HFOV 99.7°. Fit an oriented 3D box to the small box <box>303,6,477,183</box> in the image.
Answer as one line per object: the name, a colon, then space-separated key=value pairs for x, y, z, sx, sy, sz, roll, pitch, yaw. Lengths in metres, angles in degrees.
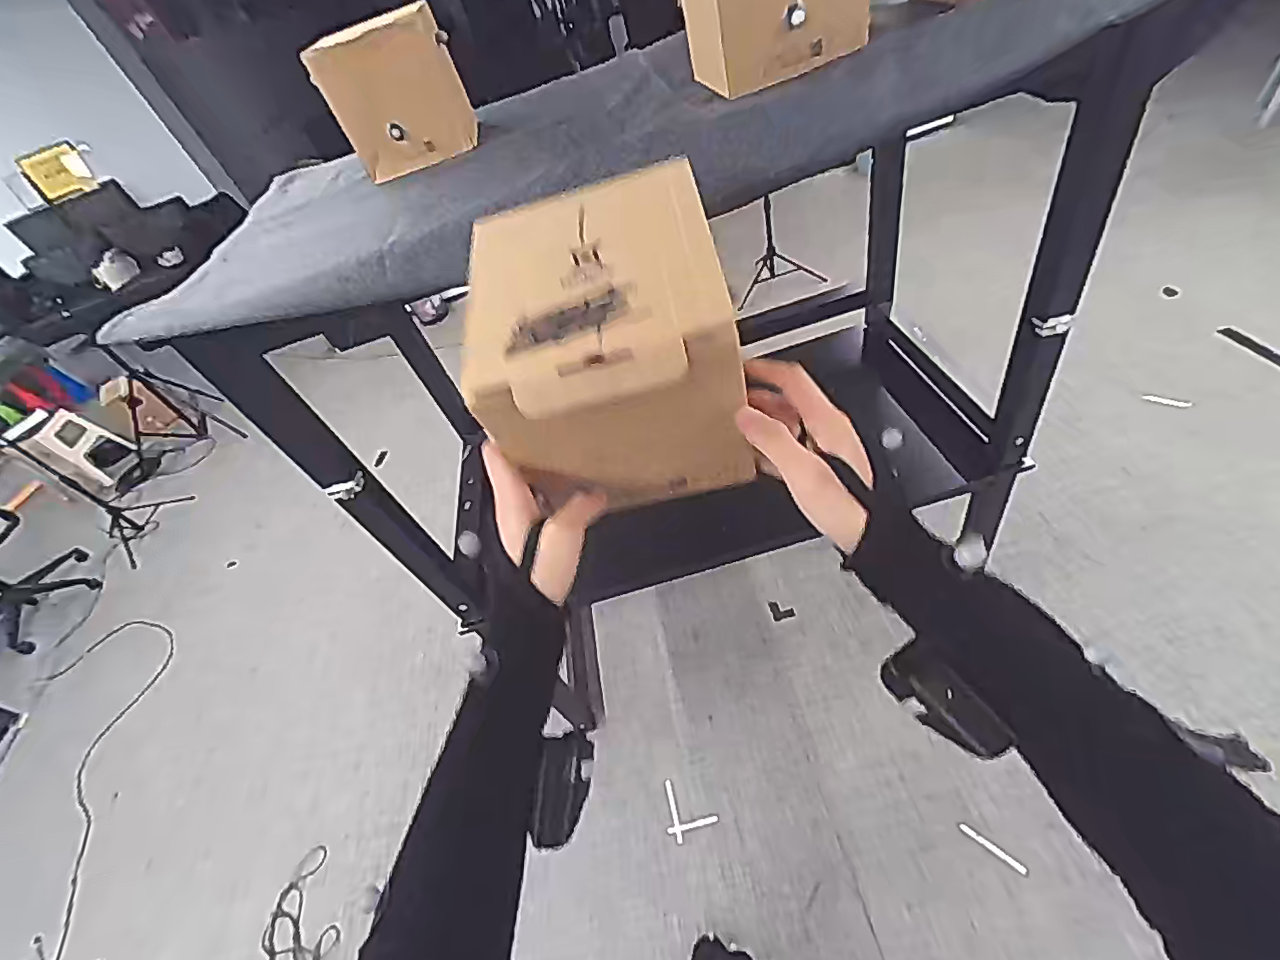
small box: x=-0.361 y=-0.579 z=0.818 sx=0.168 sy=0.176 sz=0.179 roll=-19 pitch=46 yaw=3

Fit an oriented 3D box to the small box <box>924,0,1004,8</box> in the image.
small box: x=0.429 y=-0.661 z=0.604 sx=0.168 sy=0.176 sz=0.179 roll=-17 pitch=44 yaw=6

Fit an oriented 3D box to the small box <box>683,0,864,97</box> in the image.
small box: x=0.144 y=-0.572 z=0.624 sx=0.168 sy=0.176 sz=0.179 roll=-18 pitch=44 yaw=4
